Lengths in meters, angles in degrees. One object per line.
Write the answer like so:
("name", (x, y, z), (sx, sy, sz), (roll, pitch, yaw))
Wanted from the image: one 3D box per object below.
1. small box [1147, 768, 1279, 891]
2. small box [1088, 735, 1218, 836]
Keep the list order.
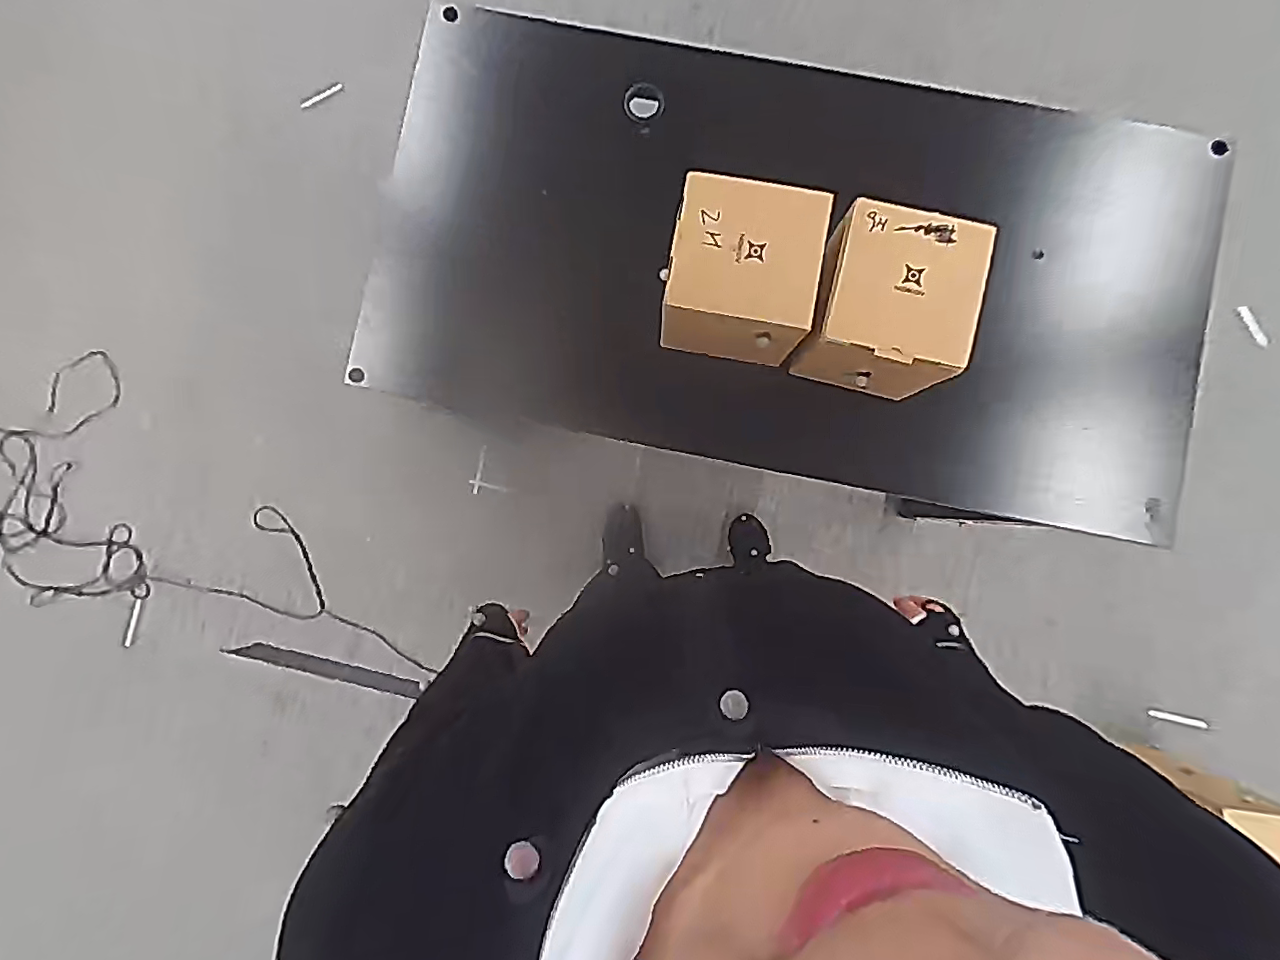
("small box", (1.285, 0.764, 1.196), (0.179, 0.176, 0.168), (5, 86, 3))
("small box", (1.279, 0.769, 1.359), (0.168, 0.176, 0.179), (9, 88, 2))
